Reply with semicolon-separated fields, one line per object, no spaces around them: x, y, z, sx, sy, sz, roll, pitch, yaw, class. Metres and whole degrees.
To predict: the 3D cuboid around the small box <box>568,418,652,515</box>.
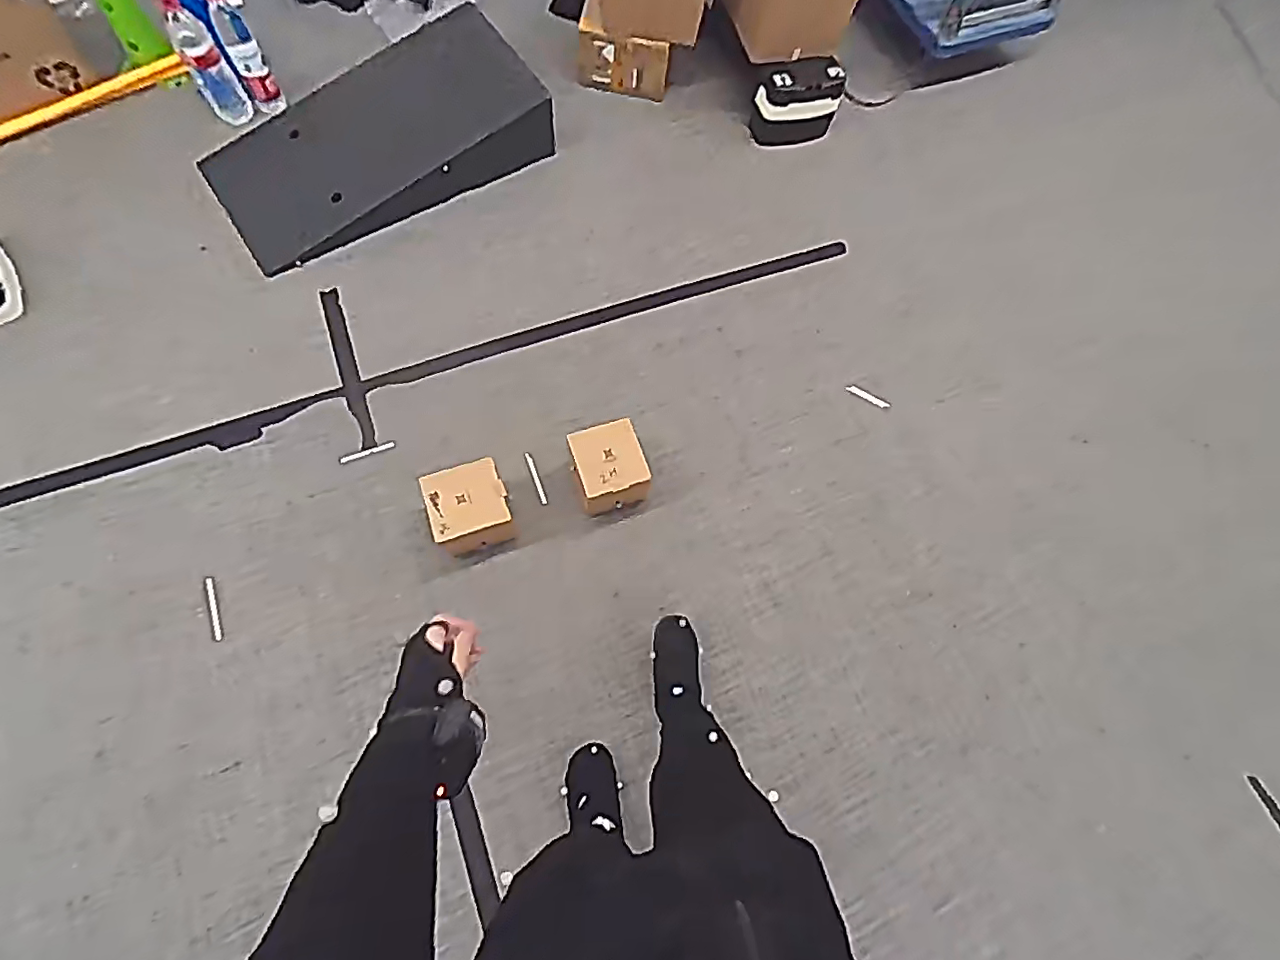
-0.083;-0.030;1.381;0.168;0.176;0.179;-17;74;-11;small box

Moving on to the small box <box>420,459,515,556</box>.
-0.409;0.071;1.311;0.179;0.176;0.168;-17;74;-12;small box
